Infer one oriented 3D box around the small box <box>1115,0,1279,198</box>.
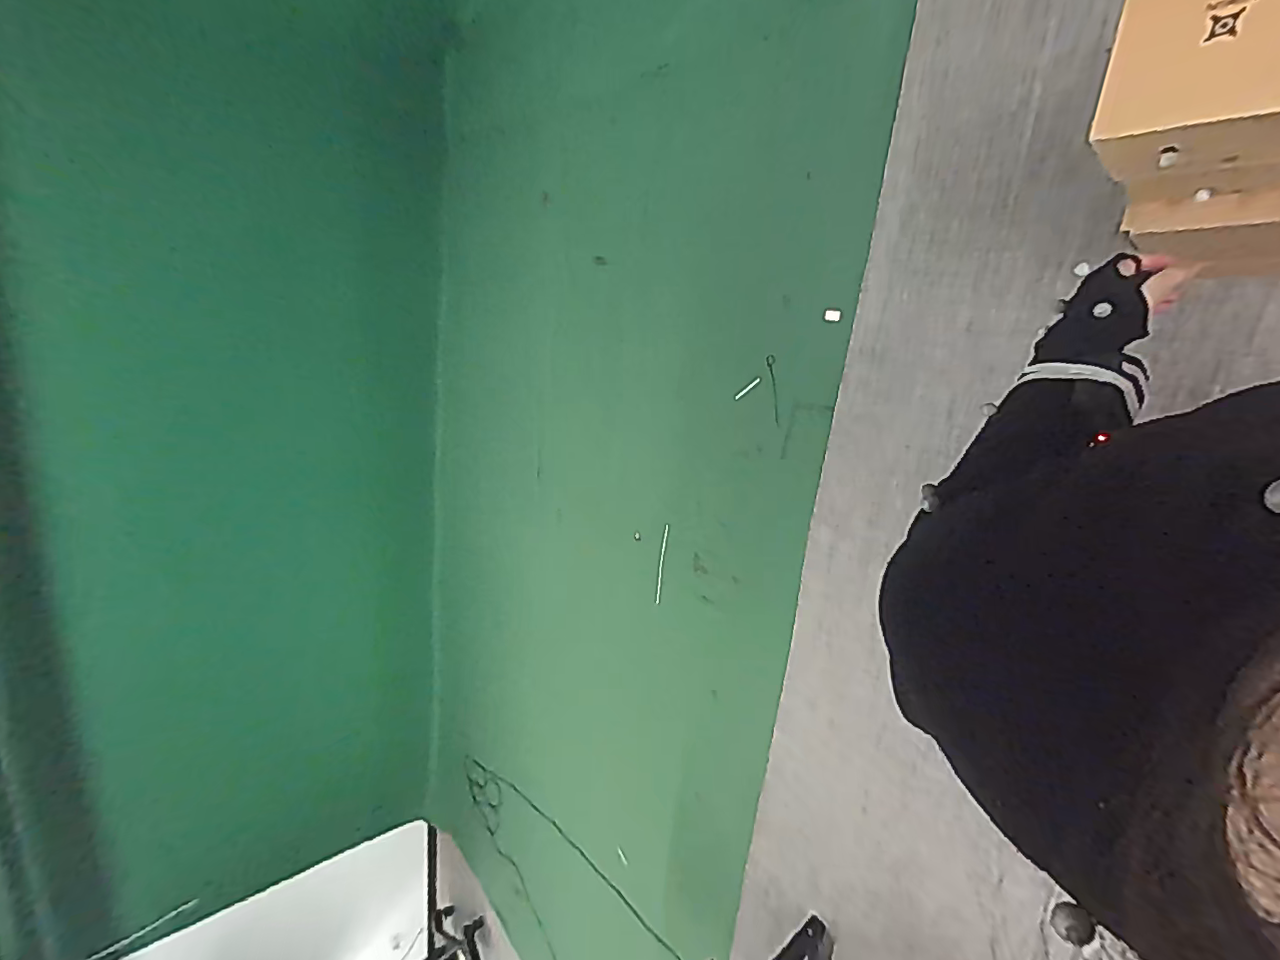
[{"bbox_3d":[0.728,-0.470,0.668,0.168,0.176,0.179,22,113,44],"label":"small box"}]
